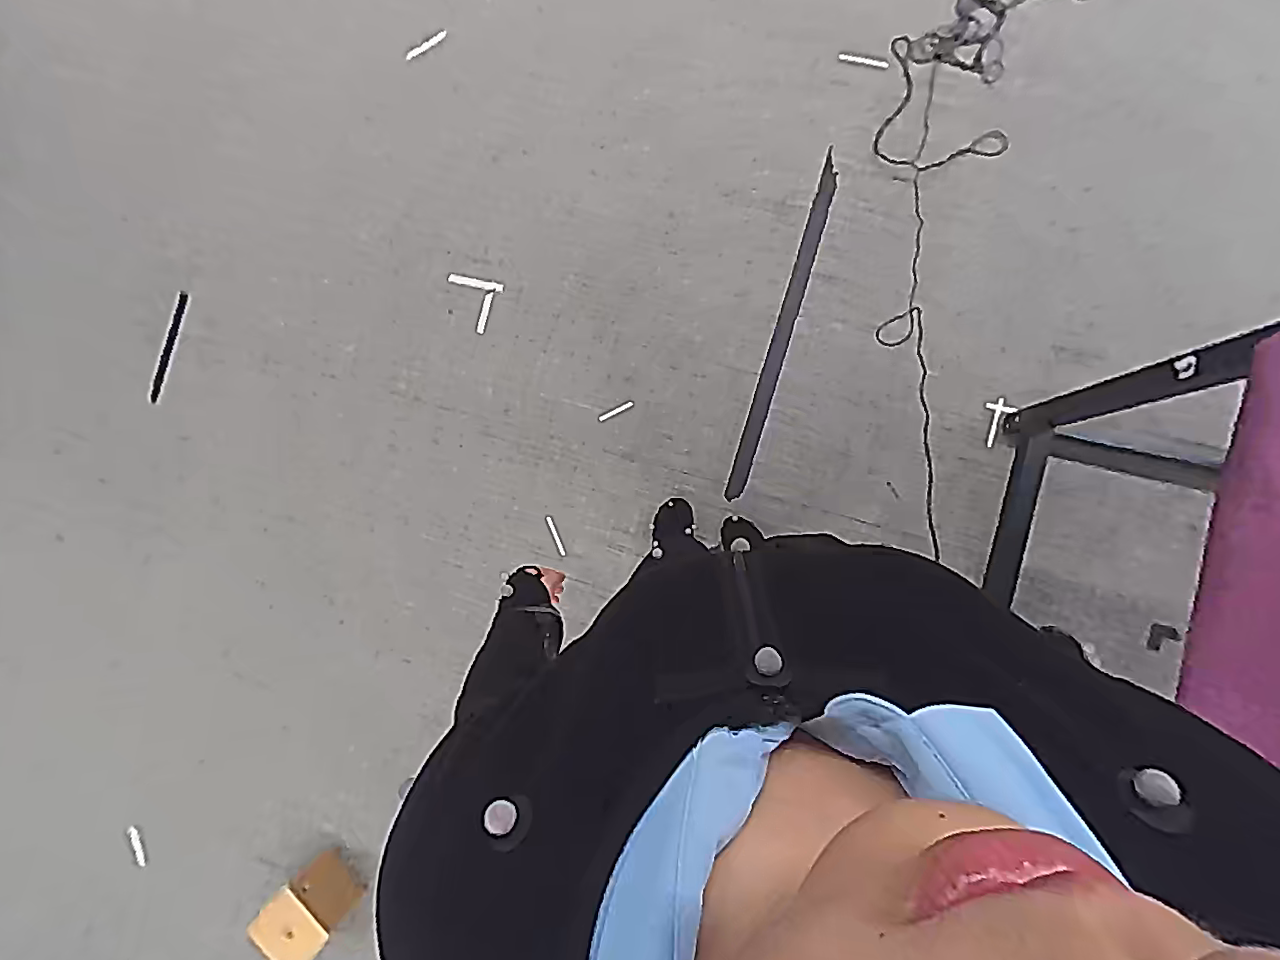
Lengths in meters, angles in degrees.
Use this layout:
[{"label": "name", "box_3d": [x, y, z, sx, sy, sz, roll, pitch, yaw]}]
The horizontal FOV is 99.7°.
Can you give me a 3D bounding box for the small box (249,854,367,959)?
[{"label": "small box", "box_3d": [-0.891, 1.178, 1.469, 0.179, 0.176, 0.168, 41, 92, 8]}]
